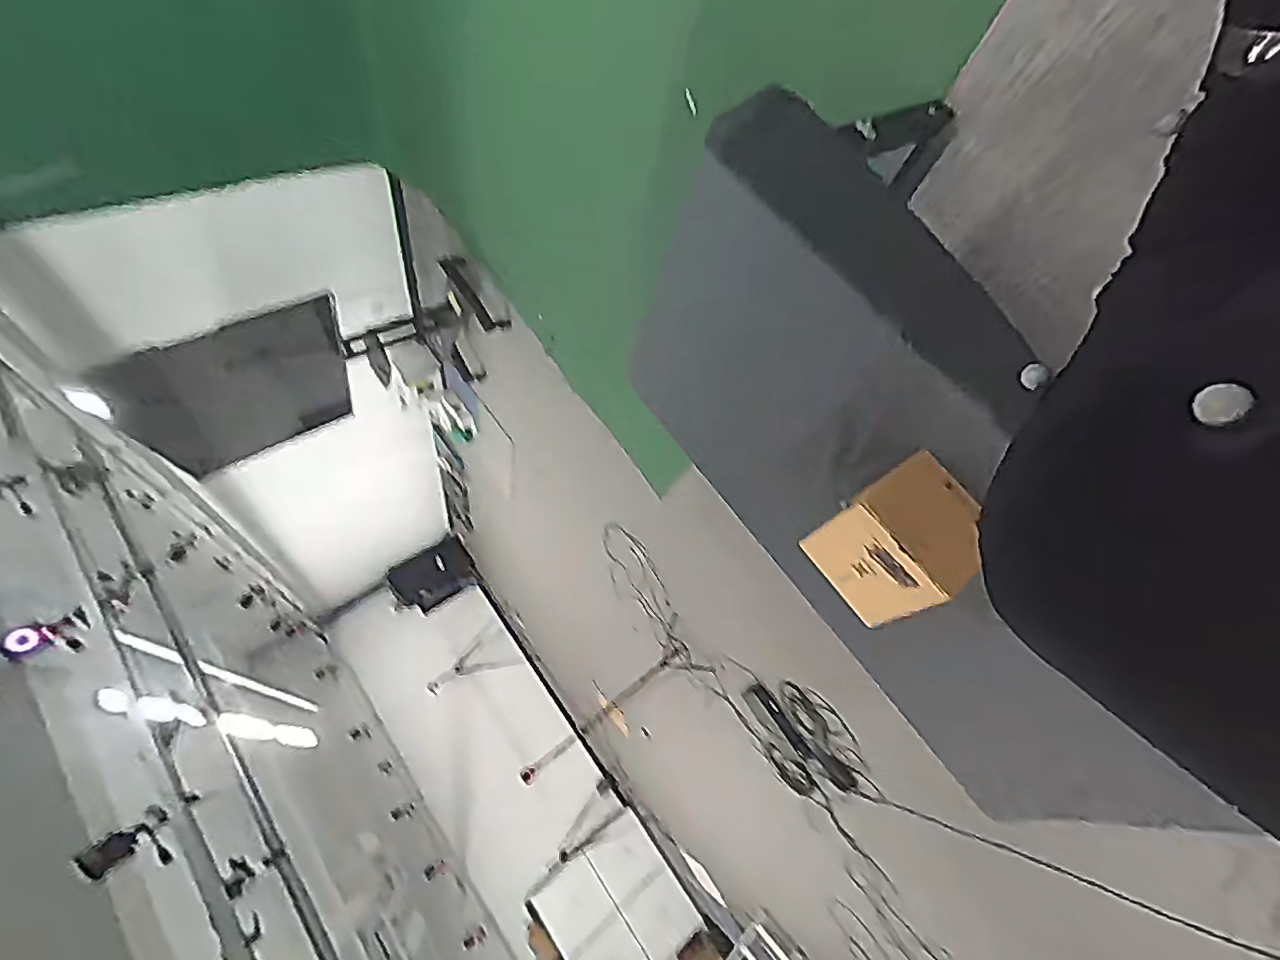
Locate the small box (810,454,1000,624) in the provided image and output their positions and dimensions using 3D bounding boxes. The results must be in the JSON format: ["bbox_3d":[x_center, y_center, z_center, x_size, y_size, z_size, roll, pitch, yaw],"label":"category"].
[{"bbox_3d":[0.405,0.088,0.826,0.168,0.176,0.179,52,154,14],"label":"small box"}]
